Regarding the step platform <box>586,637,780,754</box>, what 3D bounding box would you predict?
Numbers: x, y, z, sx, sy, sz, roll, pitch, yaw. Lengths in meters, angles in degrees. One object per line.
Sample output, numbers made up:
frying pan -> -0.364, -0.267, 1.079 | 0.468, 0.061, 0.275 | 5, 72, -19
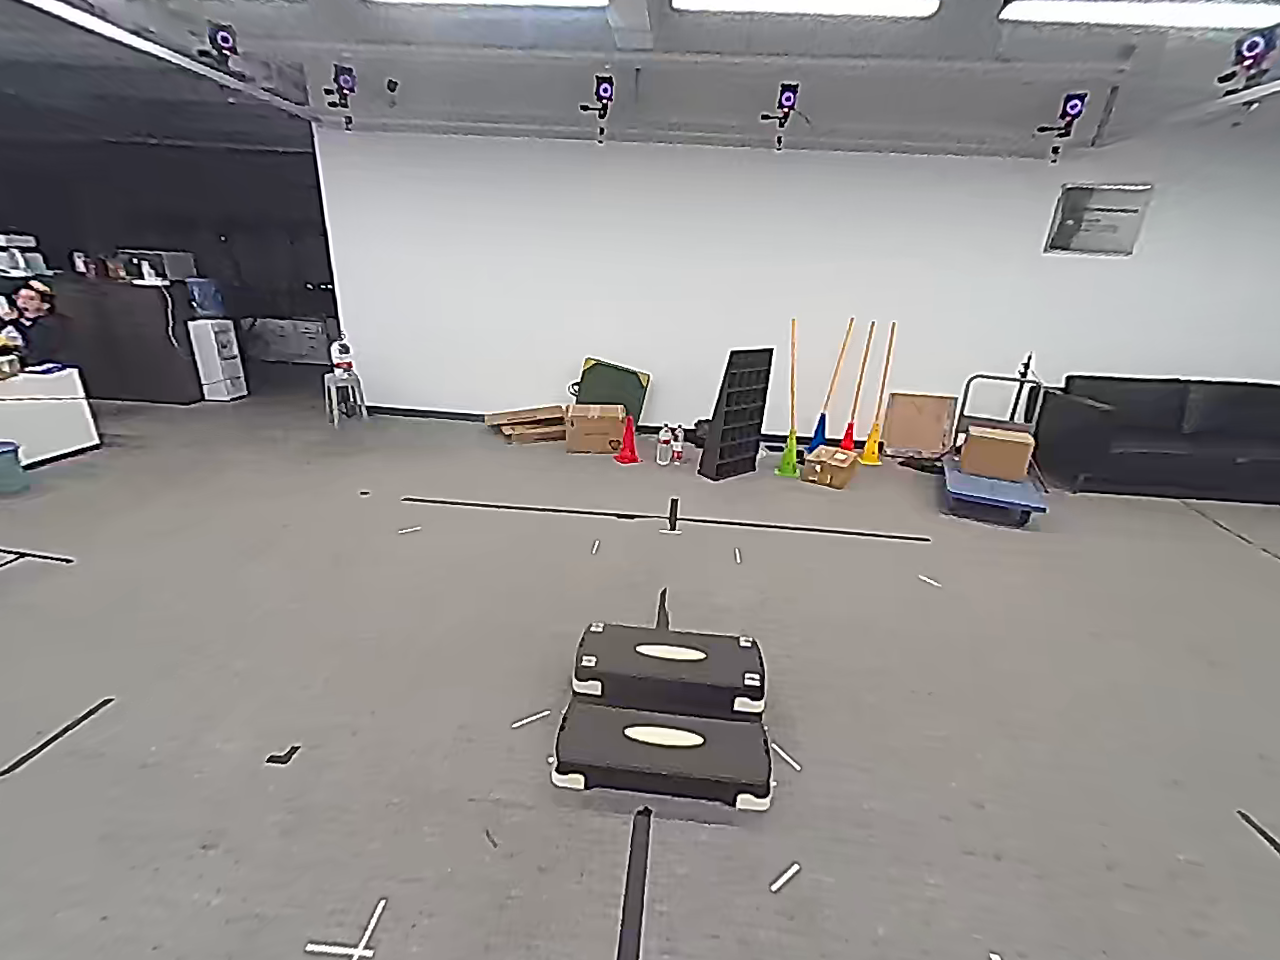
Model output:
step platform -> 0.154, 0.762, 1.956 | 0.684, 0.204, 0.286 | 6, 20, 8
